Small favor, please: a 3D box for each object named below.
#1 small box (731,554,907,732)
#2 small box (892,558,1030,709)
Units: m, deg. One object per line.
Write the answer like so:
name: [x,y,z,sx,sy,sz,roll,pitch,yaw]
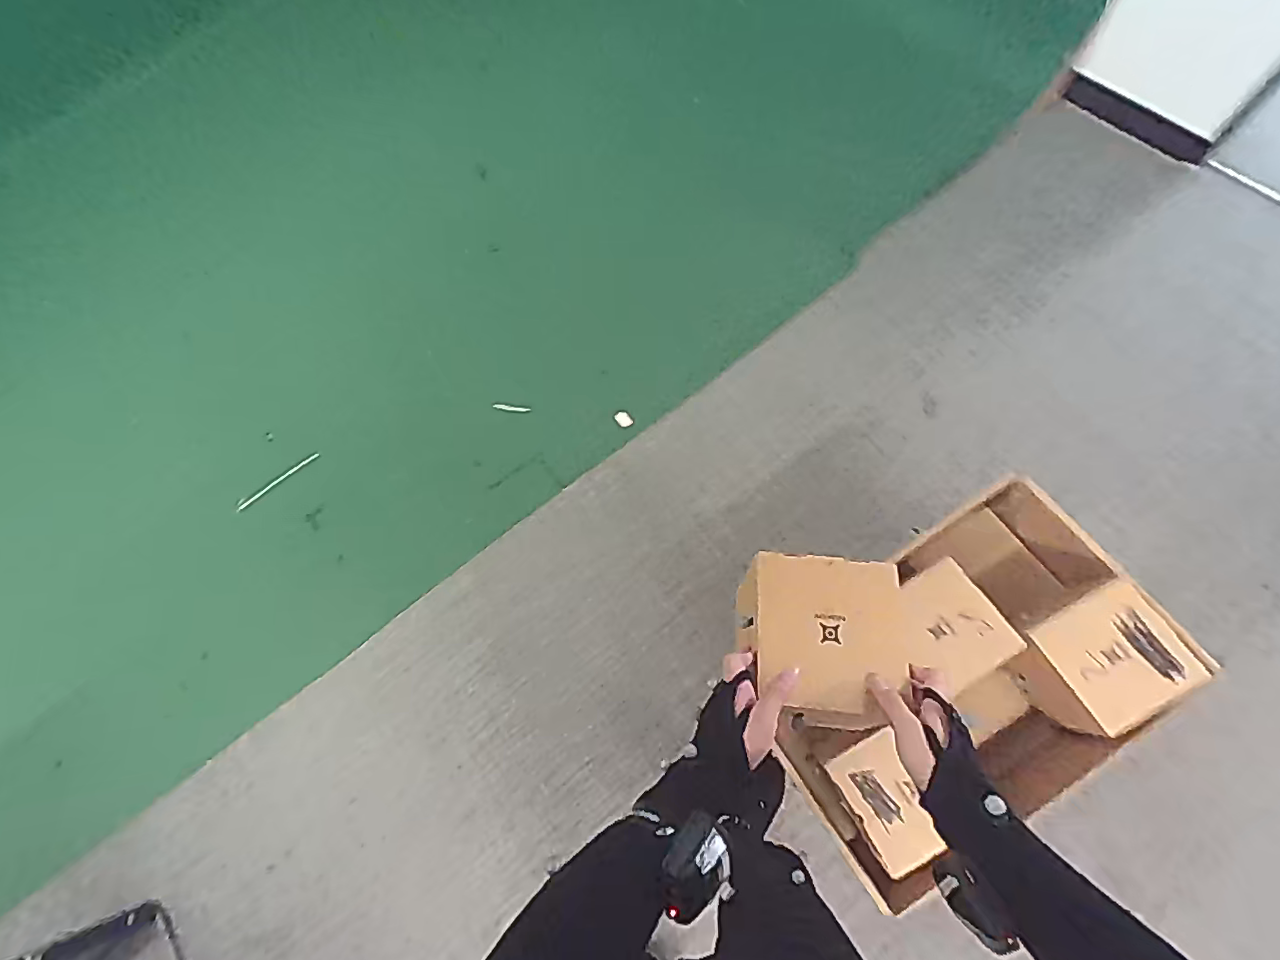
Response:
small box: [0.205,0.207,0.669,0.168,0.176,0.179,4,61,4]
small box: [0.480,0.255,0.900,0.179,0.176,0.168,-33,71,-2]
